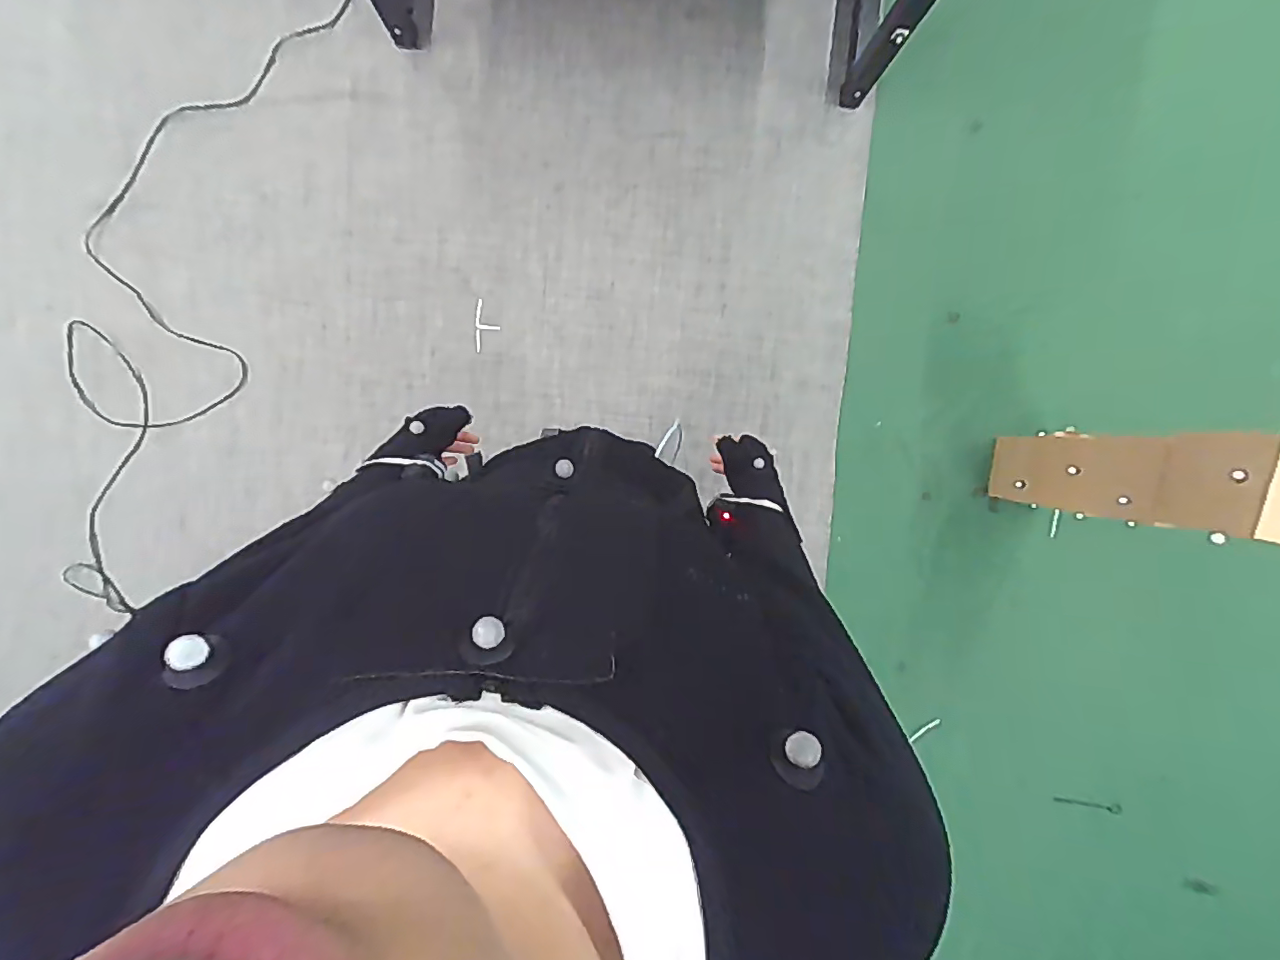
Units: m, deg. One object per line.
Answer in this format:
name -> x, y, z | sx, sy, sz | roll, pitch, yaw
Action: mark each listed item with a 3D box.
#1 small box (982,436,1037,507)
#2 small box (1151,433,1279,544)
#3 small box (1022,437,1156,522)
small box -> 1.057, -0.023, 1.452 | 0.168, 0.176, 0.179 | 6, 95, -4
small box -> 1.075, 0.015, 0.963 | 0.168, 0.176, 0.179 | 8, 94, -3
small box -> 1.058, -0.007, 1.290 | 0.168, 0.176, 0.179 | 7, 95, -3
